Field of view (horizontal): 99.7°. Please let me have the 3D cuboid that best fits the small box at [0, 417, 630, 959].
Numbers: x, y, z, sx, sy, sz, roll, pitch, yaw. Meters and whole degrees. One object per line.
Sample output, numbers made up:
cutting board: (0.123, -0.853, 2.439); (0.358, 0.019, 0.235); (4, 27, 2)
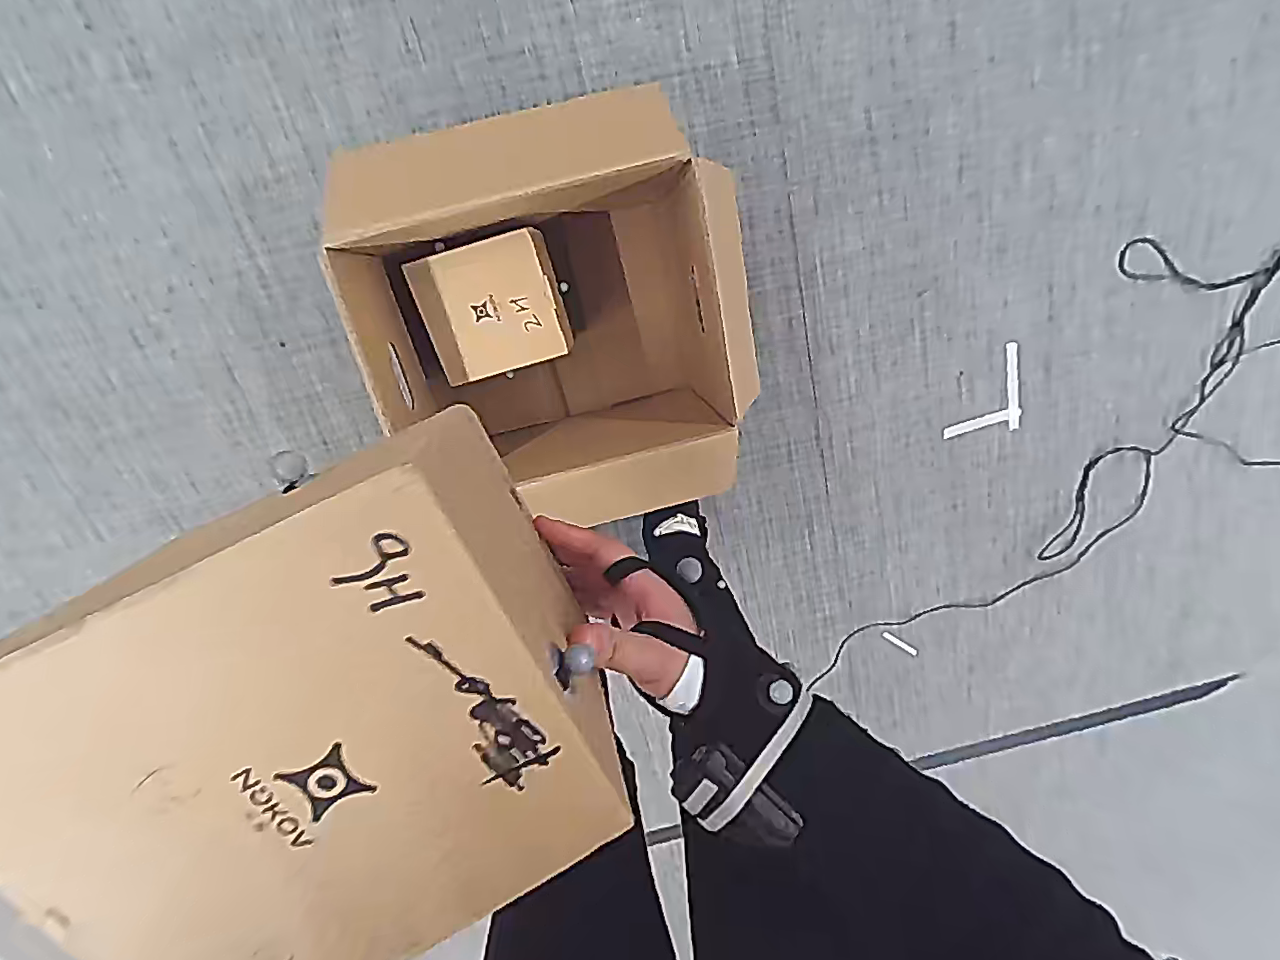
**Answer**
small box: (-0.126, 0.083, 0.264); (0.179, 0.176, 0.168); (-26, 108, -4)
